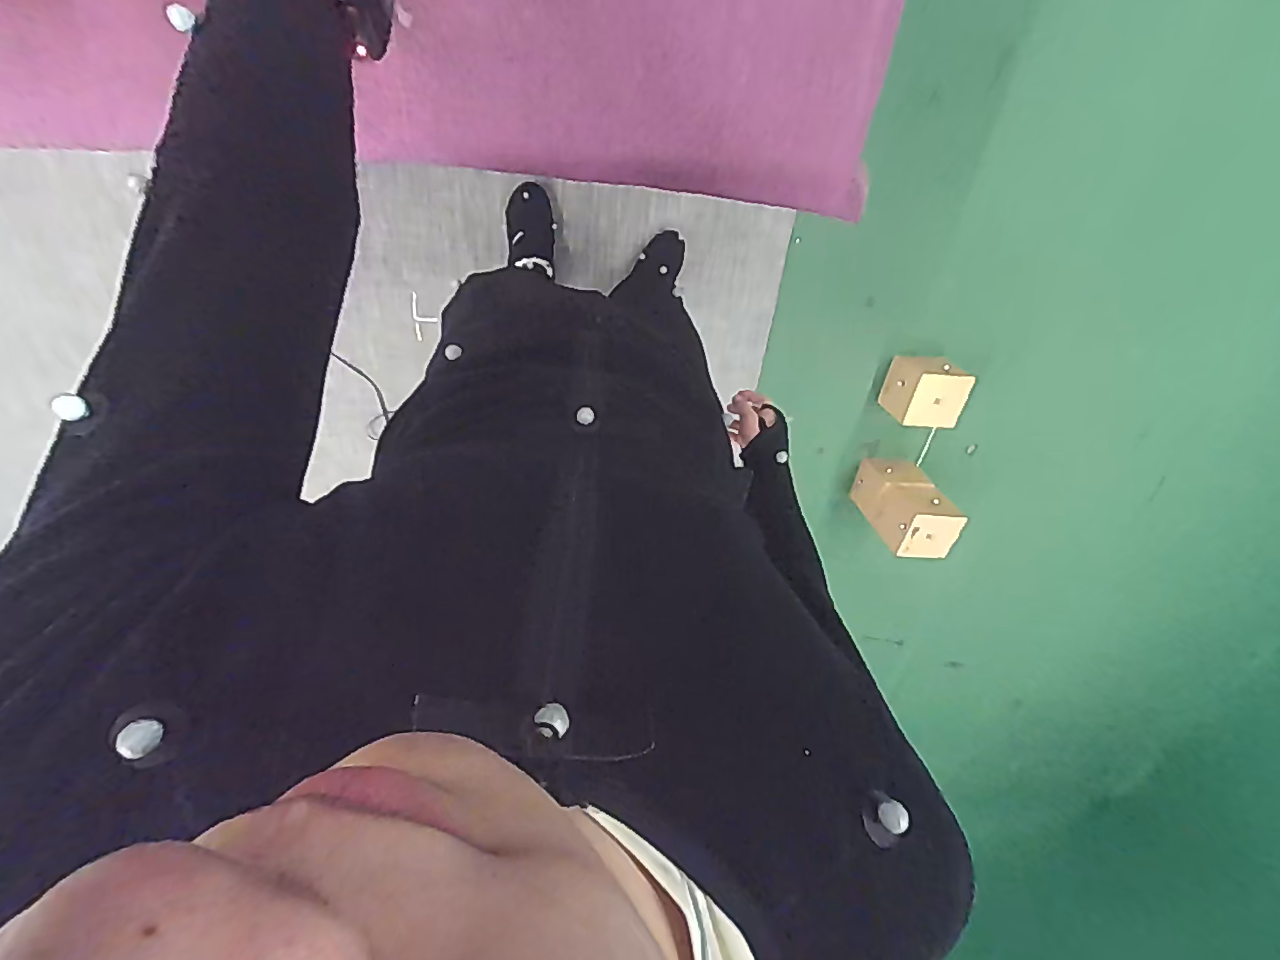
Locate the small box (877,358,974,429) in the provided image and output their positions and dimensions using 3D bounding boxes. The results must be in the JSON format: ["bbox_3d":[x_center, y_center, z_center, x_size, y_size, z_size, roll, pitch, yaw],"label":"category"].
[{"bbox_3d":[0.865,-0.269,1.659,0.179,0.176,0.168,1,122,-9],"label":"small box"}]

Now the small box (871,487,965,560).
[{"bbox_3d":[0.878,0.137,1.724,0.179,0.176,0.168,4,122,-10],"label":"small box"}]
